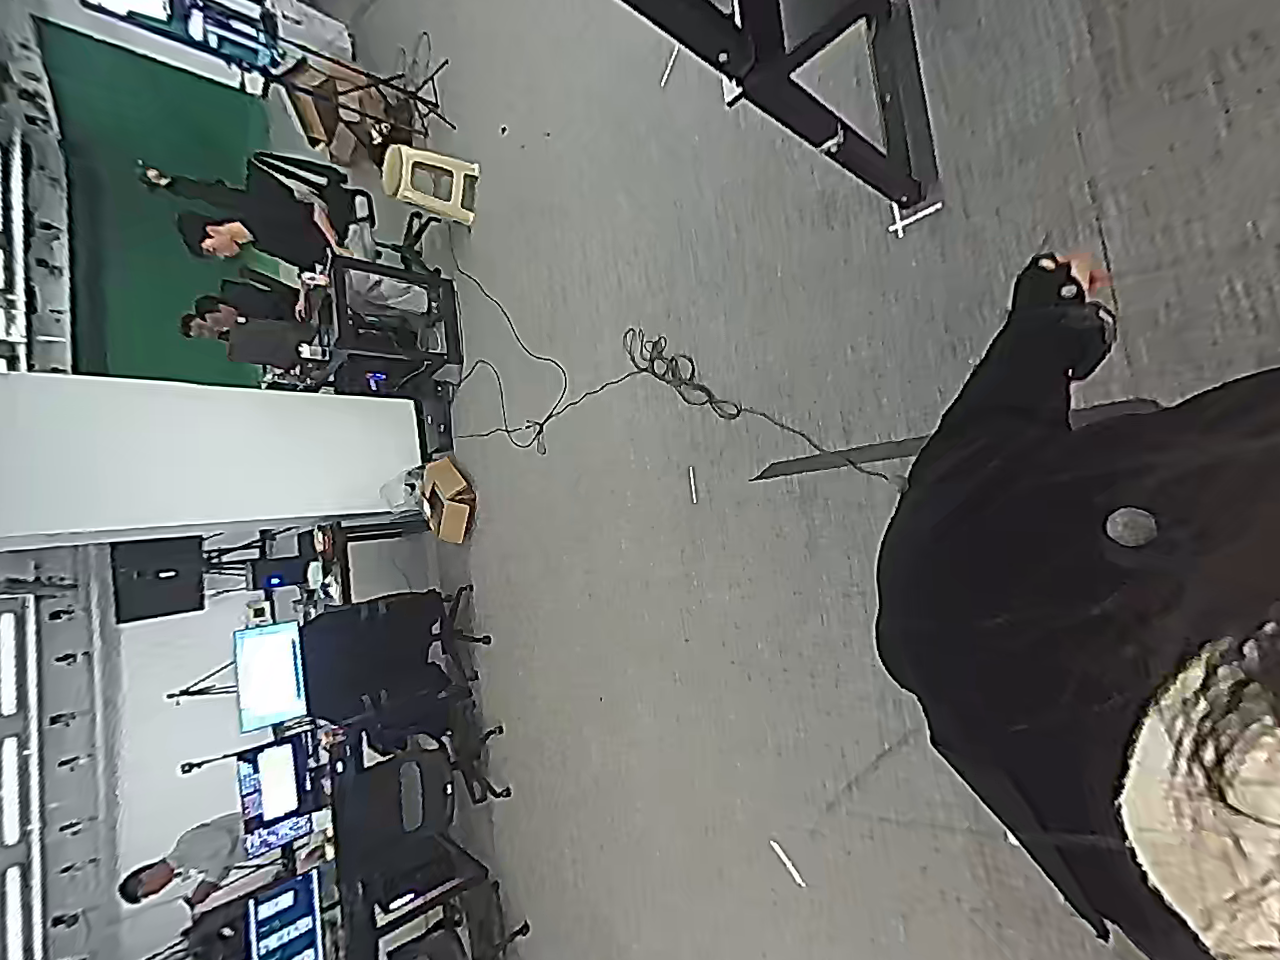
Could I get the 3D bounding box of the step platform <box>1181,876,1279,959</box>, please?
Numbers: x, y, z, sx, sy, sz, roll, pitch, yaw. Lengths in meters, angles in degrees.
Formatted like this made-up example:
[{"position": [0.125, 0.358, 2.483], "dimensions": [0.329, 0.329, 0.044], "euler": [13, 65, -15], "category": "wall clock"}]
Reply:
[{"position": [1.251, 0.904, 0.768], "dimensions": [0.684, 0.204, 0.286], "euler": [-3, 89, 47], "category": "step platform"}]
